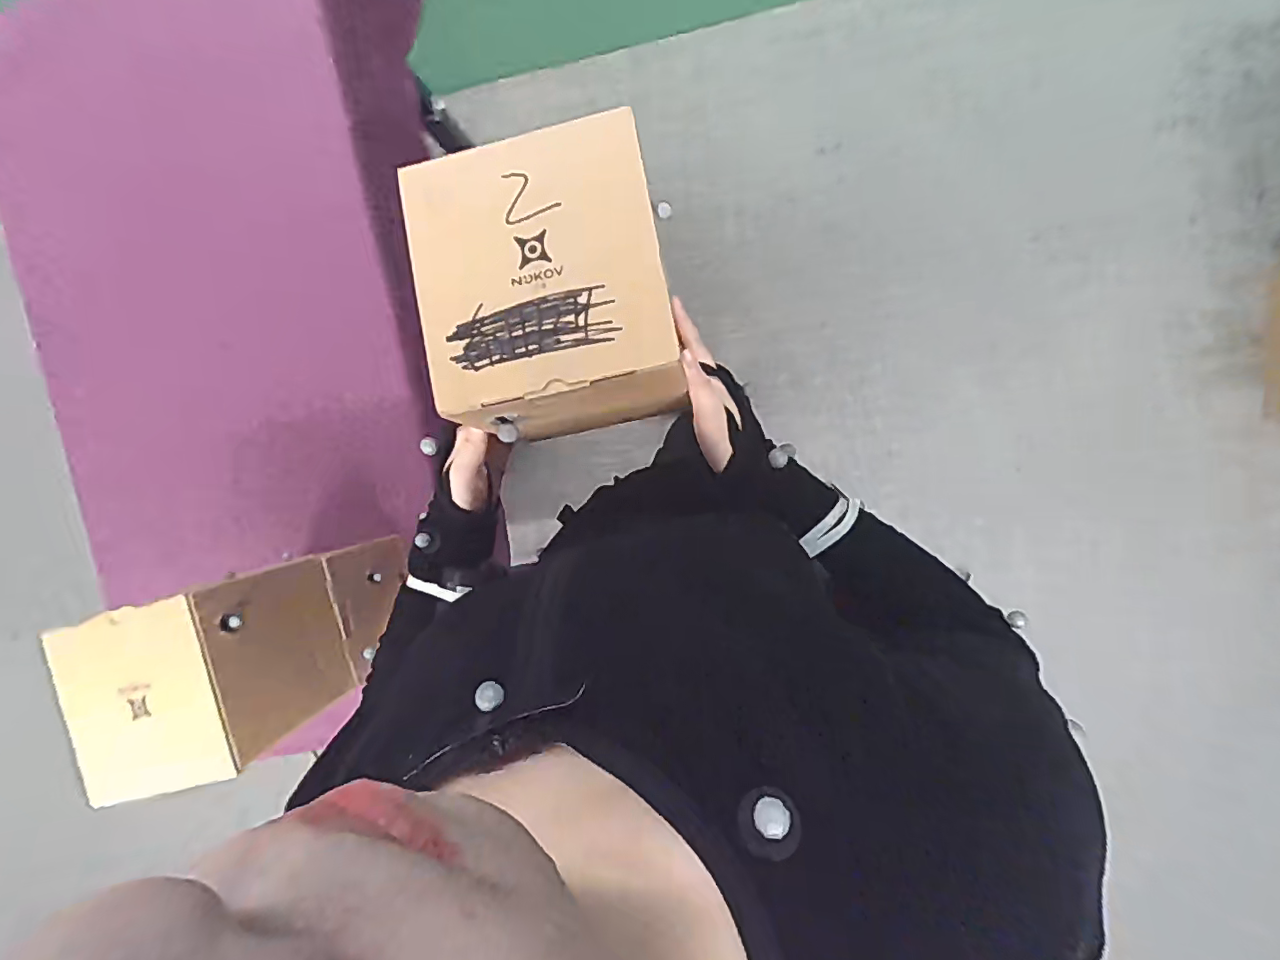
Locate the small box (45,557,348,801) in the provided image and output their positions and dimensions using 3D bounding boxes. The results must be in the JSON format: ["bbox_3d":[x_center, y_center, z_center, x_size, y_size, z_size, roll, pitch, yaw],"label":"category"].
[{"bbox_3d":[-0.451,0.198,0.580,0.168,0.176,0.179,-16,91,8],"label":"small box"}]

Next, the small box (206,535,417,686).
[{"bbox_3d":[-0.432,0.181,0.741,0.179,0.176,0.168,-14,92,8],"label":"small box"}]
